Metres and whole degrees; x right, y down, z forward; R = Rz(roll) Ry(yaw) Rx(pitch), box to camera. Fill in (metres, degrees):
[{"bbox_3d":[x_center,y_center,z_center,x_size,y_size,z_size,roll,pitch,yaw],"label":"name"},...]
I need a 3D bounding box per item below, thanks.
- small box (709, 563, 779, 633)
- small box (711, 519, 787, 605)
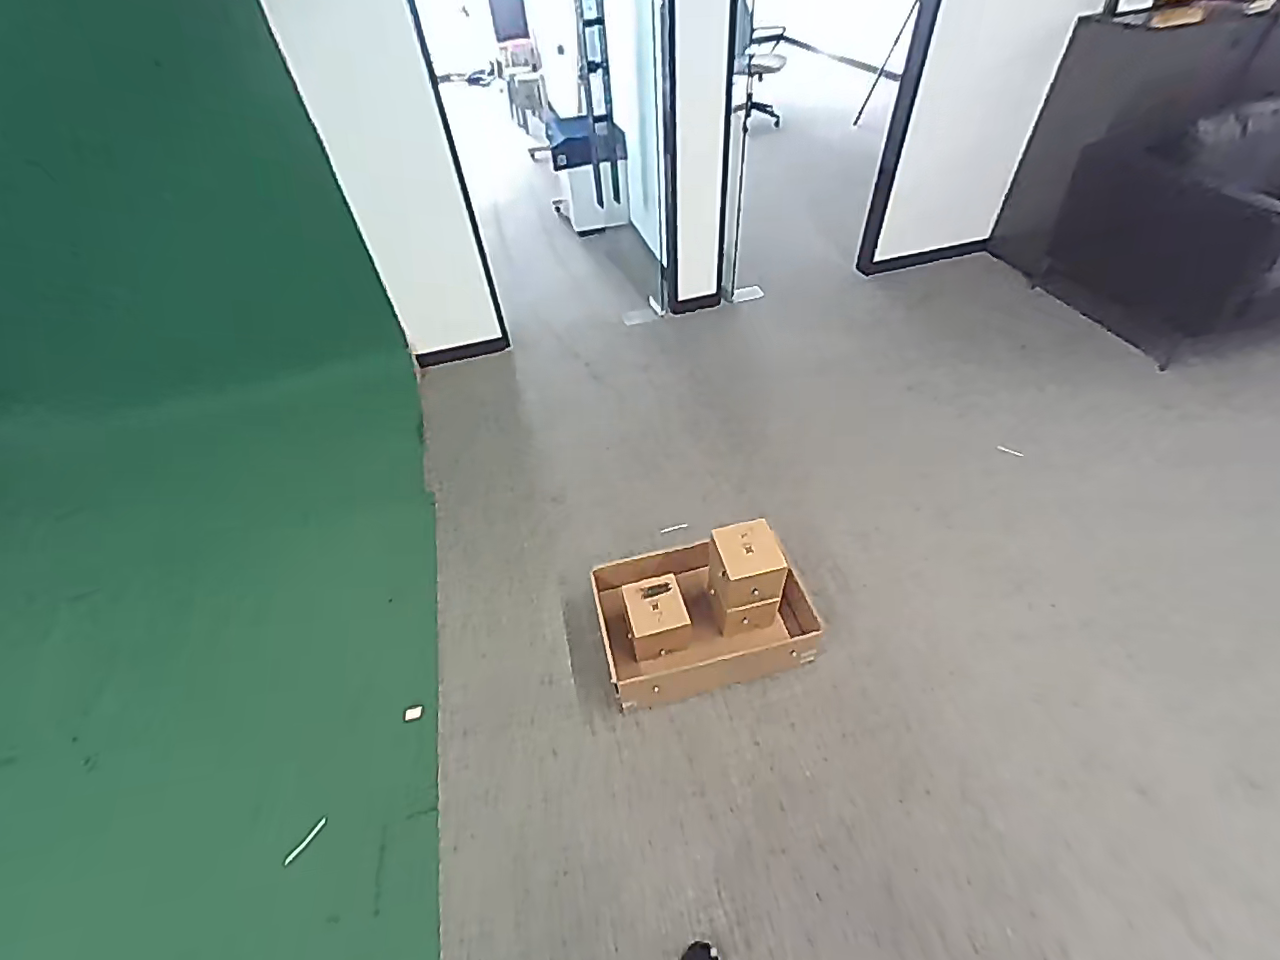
[{"bbox_3d":[0.317,0.356,1.675,0.168,0.176,0.179,-12,48,-6],"label":"small box"},{"bbox_3d":[0.307,0.243,1.554,0.168,0.176,0.179,-12,48,-5],"label":"small box"}]
